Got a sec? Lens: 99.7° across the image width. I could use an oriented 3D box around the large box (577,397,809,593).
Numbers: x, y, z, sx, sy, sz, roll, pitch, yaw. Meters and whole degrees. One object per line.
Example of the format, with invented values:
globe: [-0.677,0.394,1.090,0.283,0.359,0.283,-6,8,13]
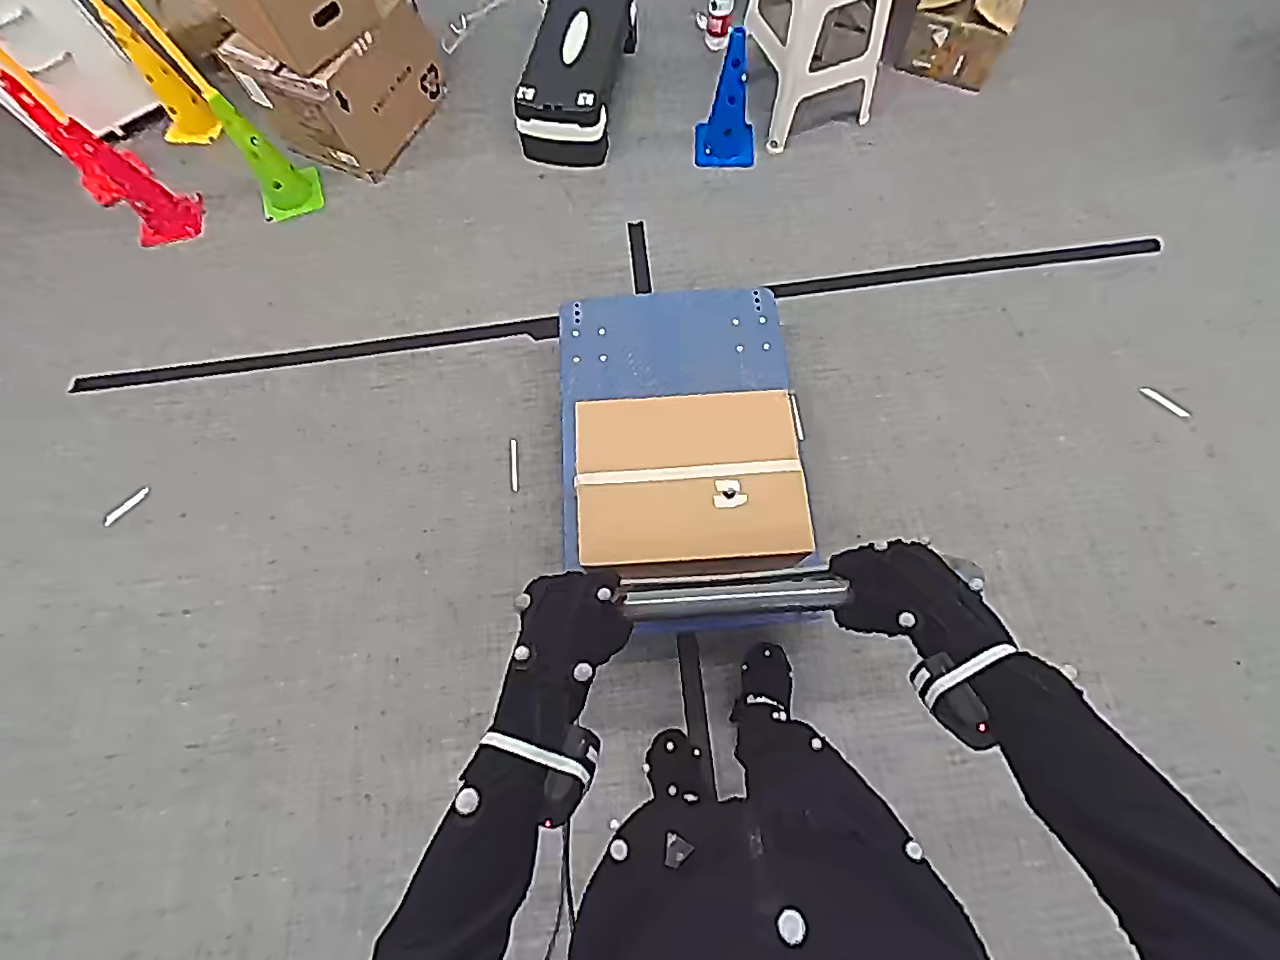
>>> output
large box: [0.087,0.047,1.128,0.408,0.320,0.320,-4,71,-1]
